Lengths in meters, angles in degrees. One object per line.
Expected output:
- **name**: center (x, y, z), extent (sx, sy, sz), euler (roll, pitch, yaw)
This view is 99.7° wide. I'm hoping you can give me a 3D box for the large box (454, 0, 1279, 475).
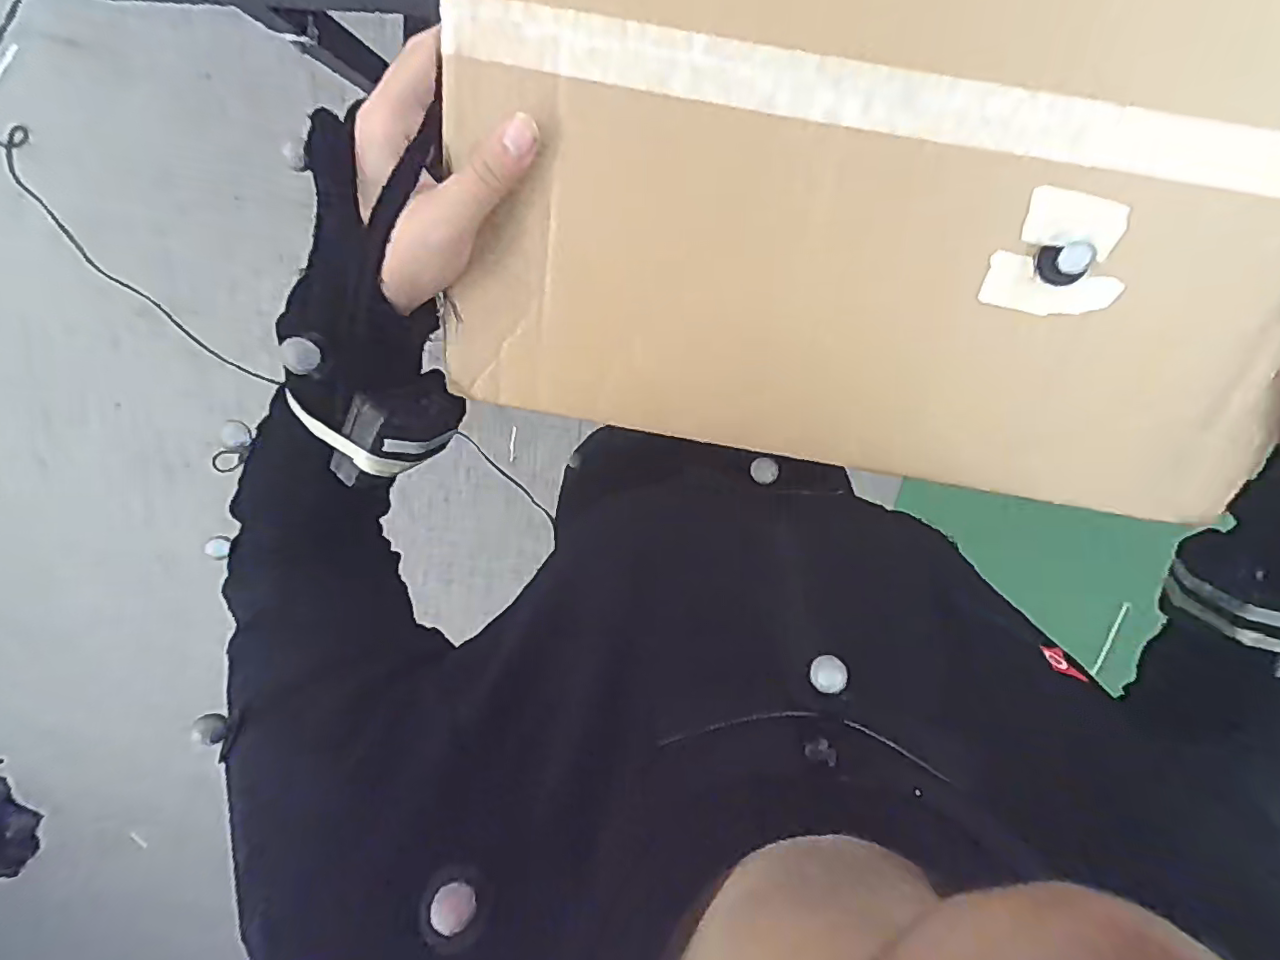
- **large box**: center (0.128, -0.225, 0.355), extent (0.408, 0.320, 0.320), euler (9, 114, 0)
